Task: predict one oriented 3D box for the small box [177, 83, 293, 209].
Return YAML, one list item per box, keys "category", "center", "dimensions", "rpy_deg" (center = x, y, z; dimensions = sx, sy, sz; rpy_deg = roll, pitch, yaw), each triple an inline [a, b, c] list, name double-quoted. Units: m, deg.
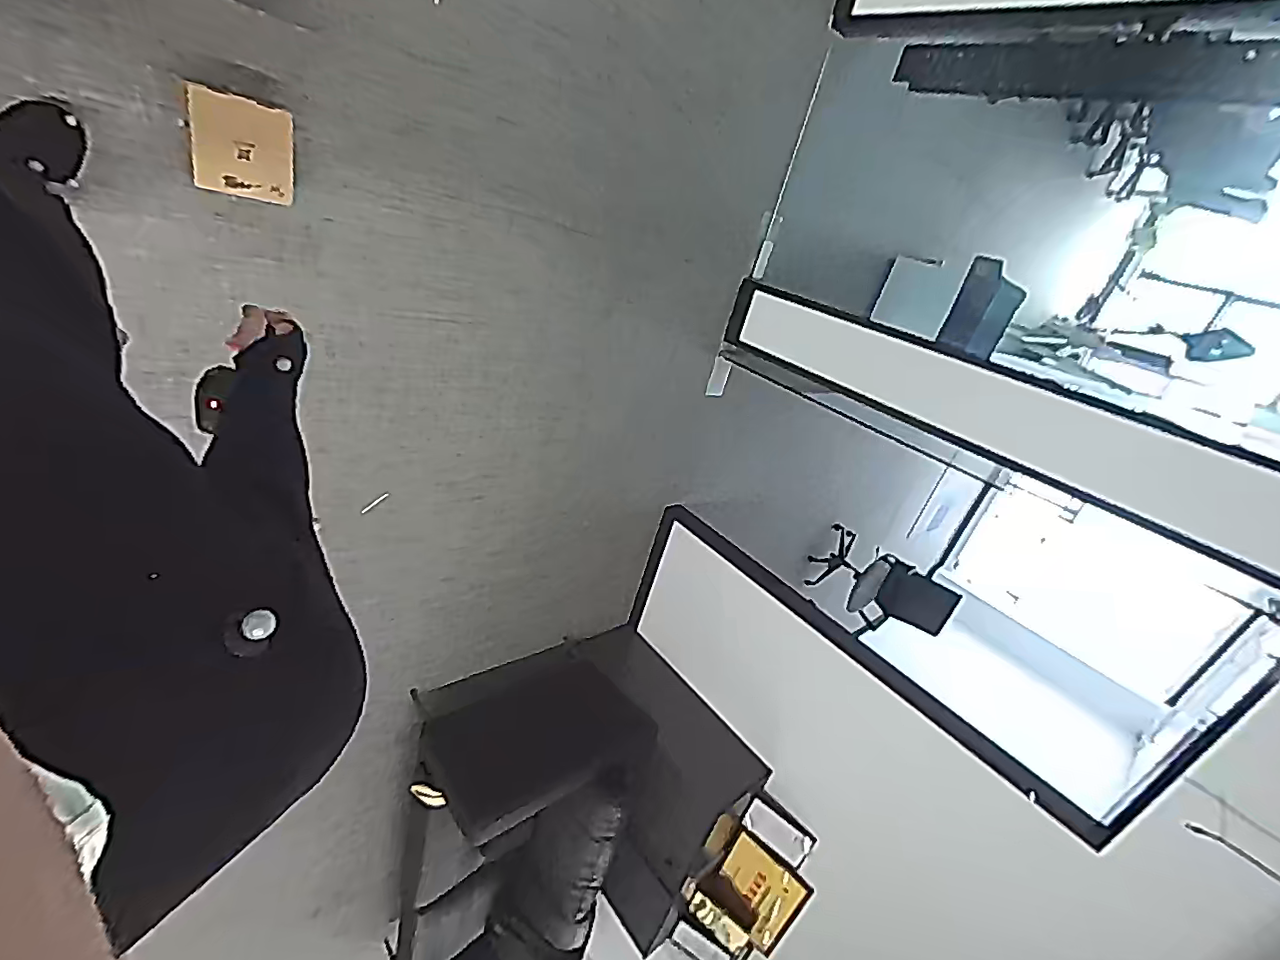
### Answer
- category: "small box"
  center: [-0.819, -0.675, 1.095]
  dimensions: [0.168, 0.176, 0.179]
  rpy_deg: [-8, 124, -43]
